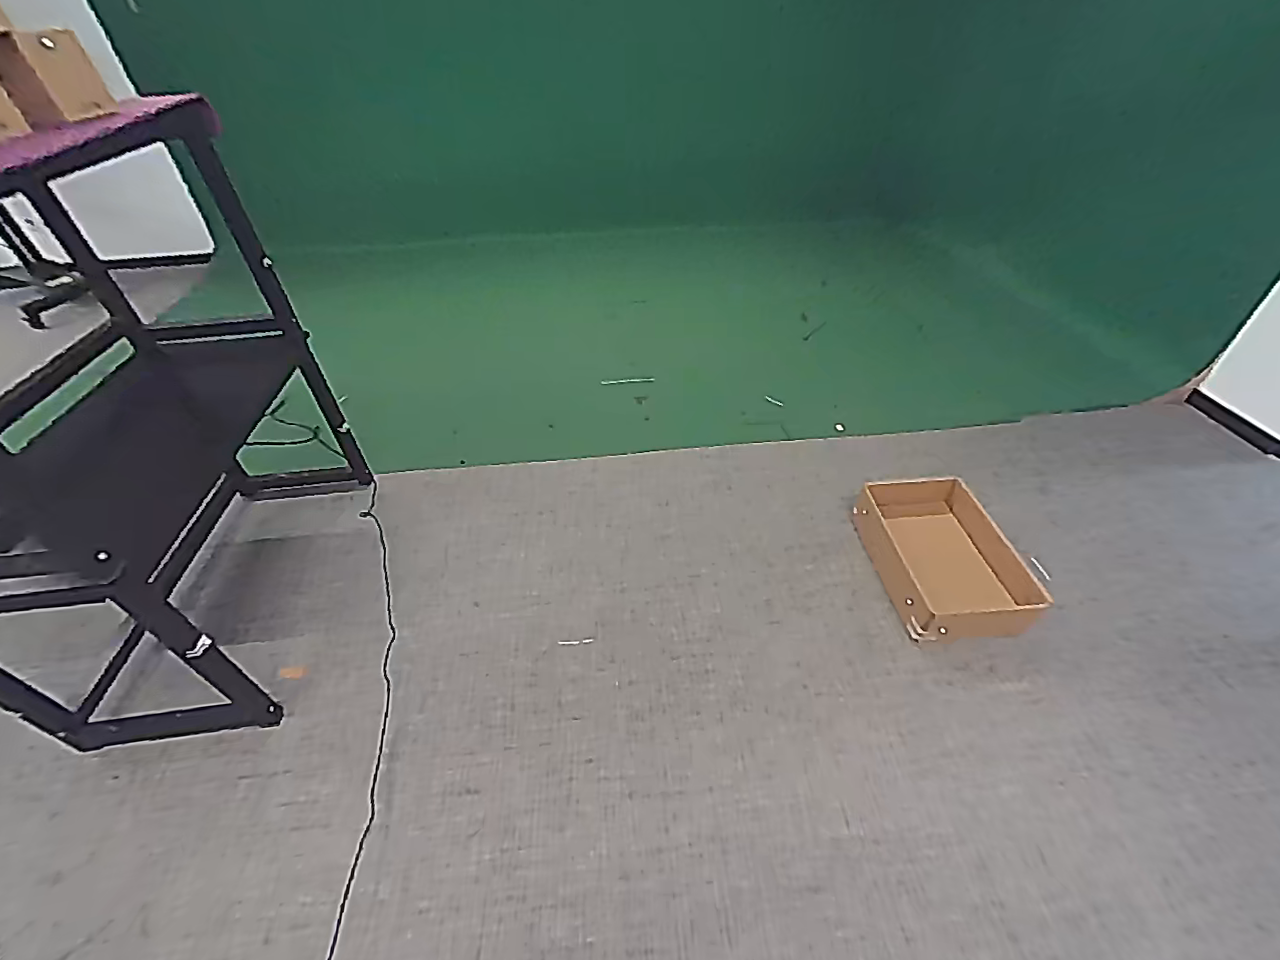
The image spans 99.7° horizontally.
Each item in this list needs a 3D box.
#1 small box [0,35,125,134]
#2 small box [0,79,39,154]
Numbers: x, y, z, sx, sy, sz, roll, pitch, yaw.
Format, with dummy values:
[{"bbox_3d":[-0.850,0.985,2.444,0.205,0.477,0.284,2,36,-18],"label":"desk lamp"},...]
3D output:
[{"bbox_3d":[-1.400,-0.927,1.270,0.179,0.176,0.168,-1,43,4],"label":"small box"},{"bbox_3d":[-1.374,-0.730,1.053,0.179,0.176,0.168,-4,43,-1],"label":"small box"}]
